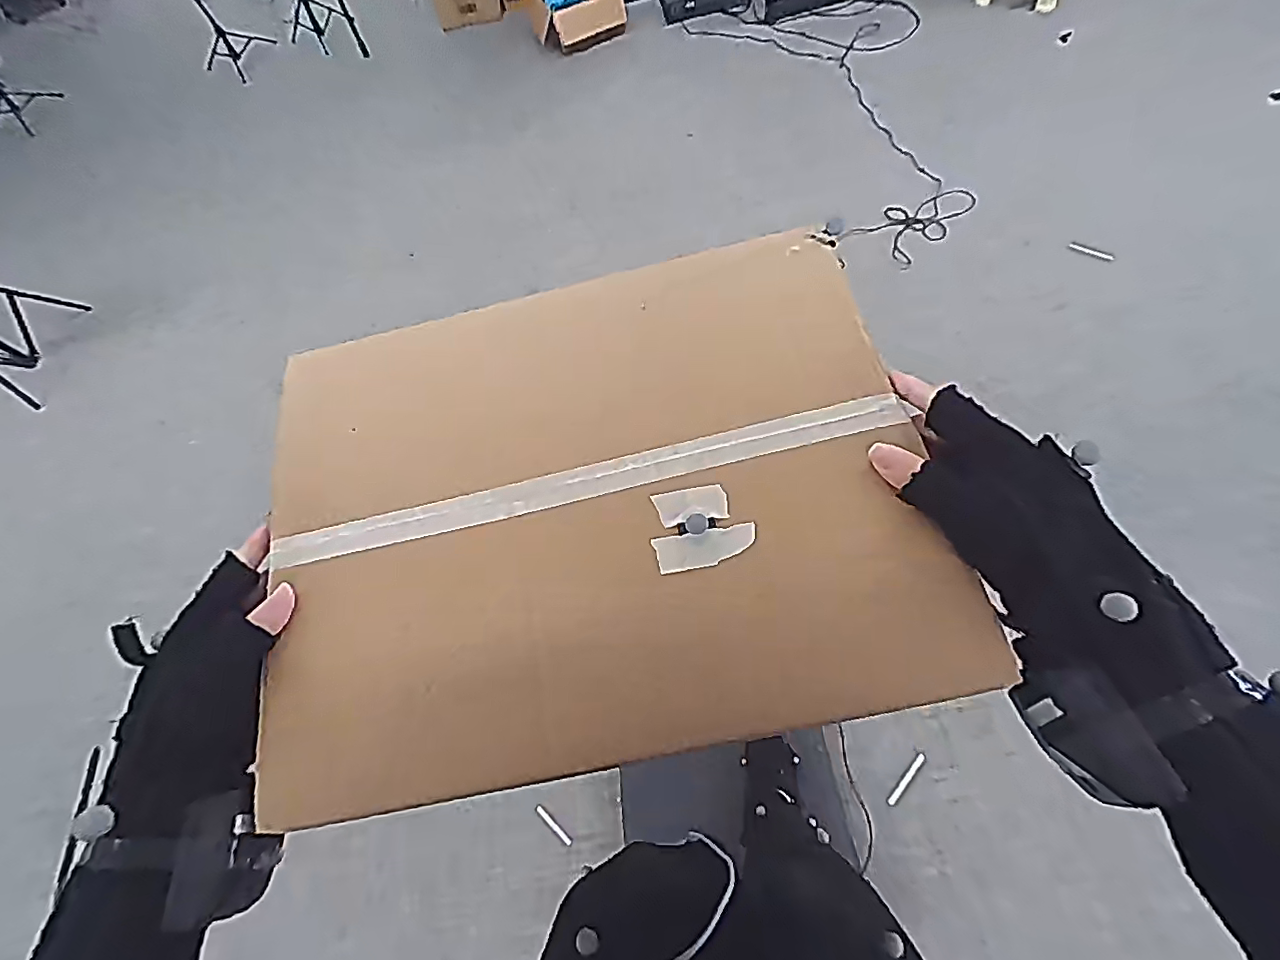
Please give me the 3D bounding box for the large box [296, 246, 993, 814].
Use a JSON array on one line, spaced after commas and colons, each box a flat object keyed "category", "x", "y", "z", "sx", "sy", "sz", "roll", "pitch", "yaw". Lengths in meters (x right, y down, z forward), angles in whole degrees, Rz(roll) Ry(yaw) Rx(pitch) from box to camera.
[{"category": "large box", "x": -0.013, "y": 0.062, "z": 0.490, "sx": 0.408, "sy": 0.320, "sz": 0.320, "roll": -13, "pitch": 68, "yaw": 3}]
